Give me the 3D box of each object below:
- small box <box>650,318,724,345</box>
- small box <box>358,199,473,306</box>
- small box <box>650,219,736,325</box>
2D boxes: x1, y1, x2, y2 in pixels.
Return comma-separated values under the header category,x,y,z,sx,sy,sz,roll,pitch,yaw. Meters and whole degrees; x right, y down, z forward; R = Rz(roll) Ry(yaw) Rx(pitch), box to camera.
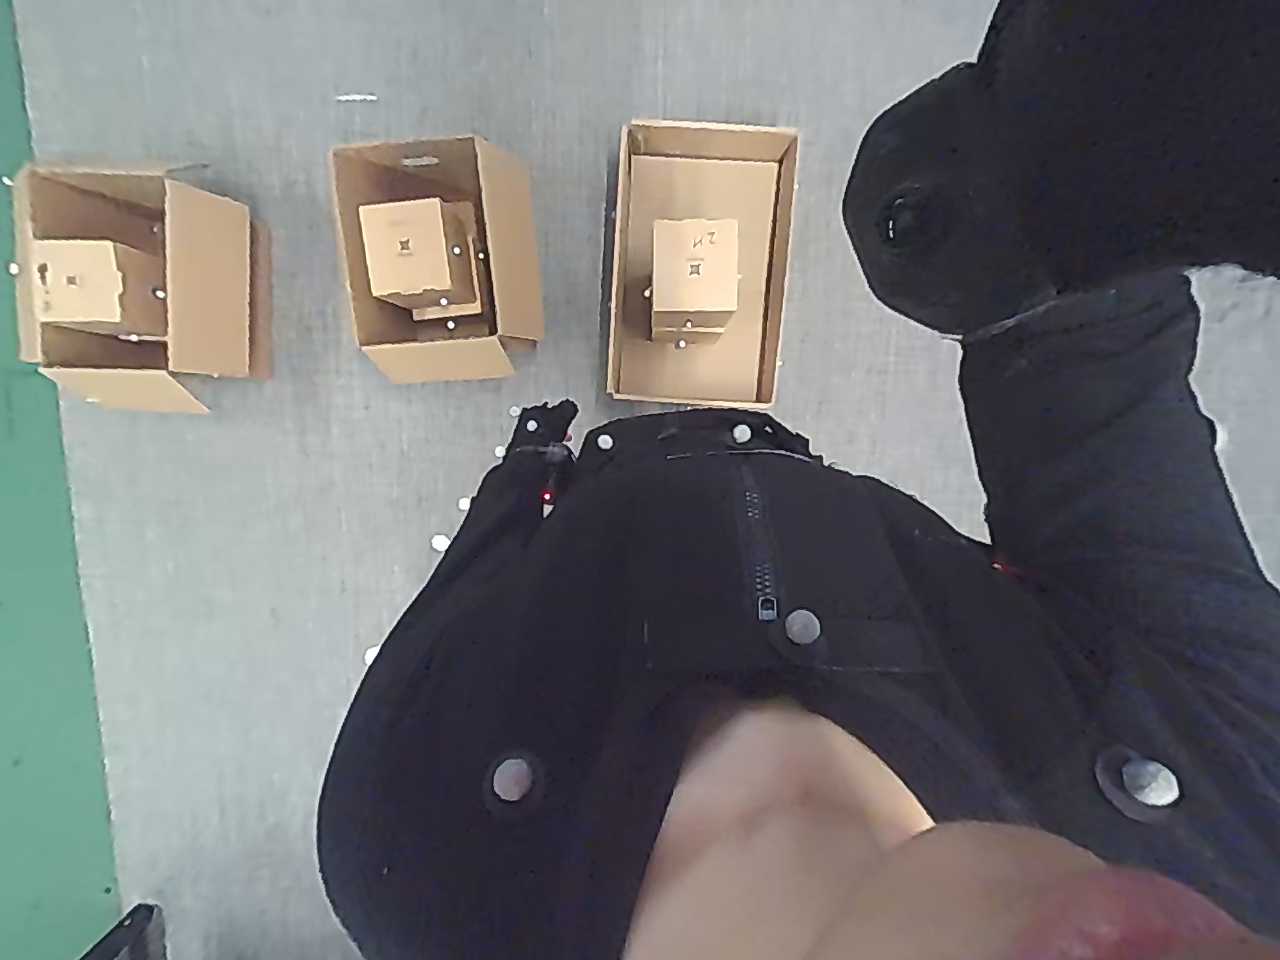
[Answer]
category,x,y,z,sx,sy,sz,roll,pitch,yaw
small box,0.111,-0.428,1.285,0.168,0.176,0.179,2,95,1
small box,-0.470,-0.476,1.159,0.168,0.176,0.179,-5,98,1
small box,0.104,-0.421,1.121,0.168,0.176,0.179,0,95,0
